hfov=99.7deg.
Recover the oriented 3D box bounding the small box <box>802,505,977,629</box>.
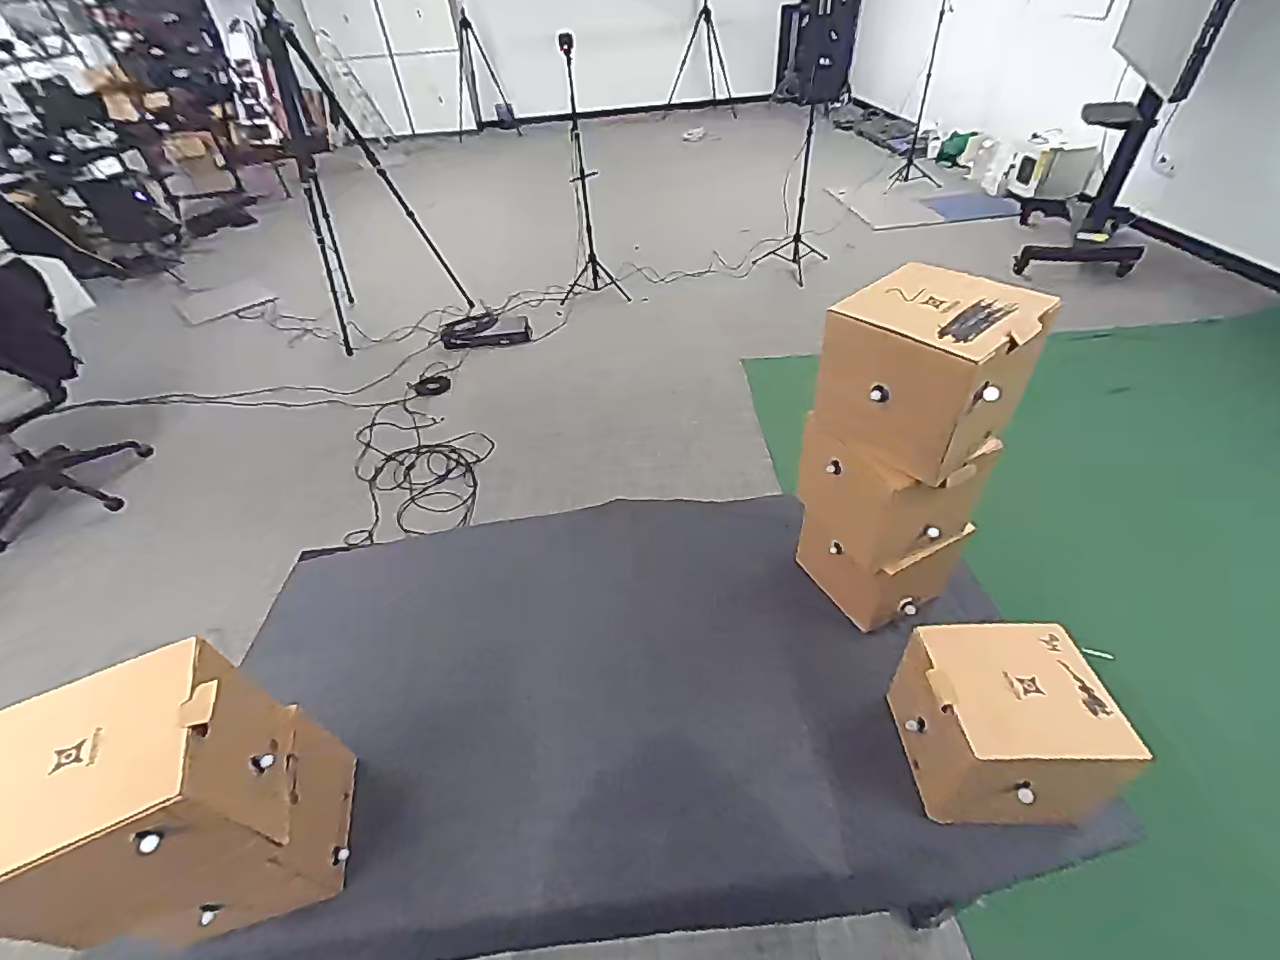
[{"bbox_3d":[0.381,0.102,0.864,0.168,0.176,0.179,-23,47,-14],"label":"small box"}]

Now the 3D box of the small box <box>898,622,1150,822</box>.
[{"bbox_3d":[0.430,0.291,0.650,0.179,0.176,0.168,-3,39,4],"label":"small box"}]

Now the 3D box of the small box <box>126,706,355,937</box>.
[{"bbox_3d":[-0.460,0.397,0.632,0.179,0.176,0.168,-14,44,-8],"label":"small box"}]

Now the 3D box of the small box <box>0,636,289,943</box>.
[{"bbox_3d":[-0.467,0.289,0.510,0.179,0.176,0.168,-22,46,-18],"label":"small box"}]

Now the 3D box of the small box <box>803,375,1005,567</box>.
[{"bbox_3d":[0.345,-0.013,0.750,0.168,0.176,0.179,-21,45,-11],"label":"small box"}]
